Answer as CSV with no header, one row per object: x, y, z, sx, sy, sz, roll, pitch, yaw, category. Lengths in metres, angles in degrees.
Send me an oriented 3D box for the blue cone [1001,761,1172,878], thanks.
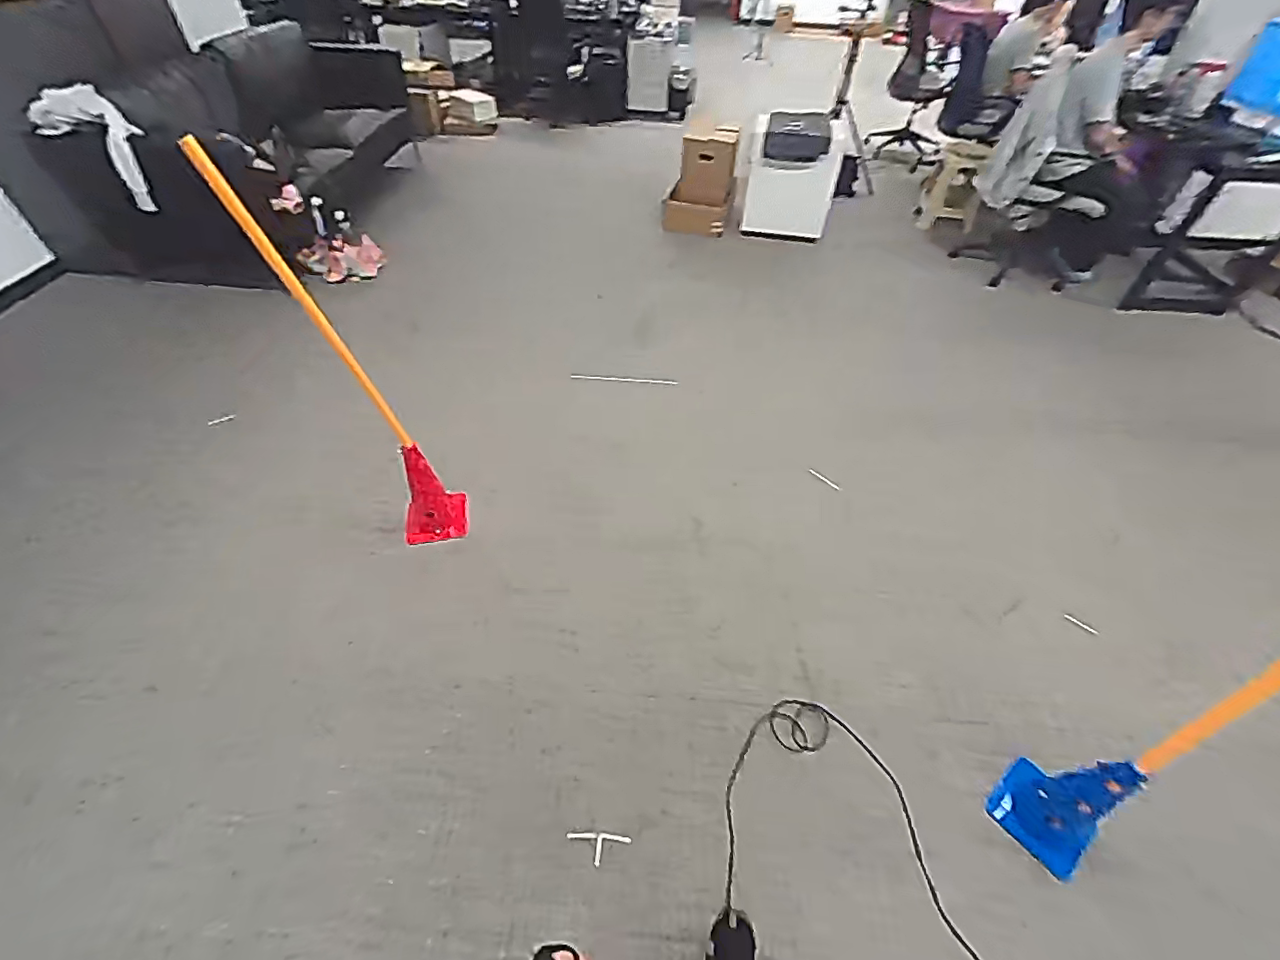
0.989,0.687,1.176,0.193,0.380,0.192,-30,54,-29,blue cone
